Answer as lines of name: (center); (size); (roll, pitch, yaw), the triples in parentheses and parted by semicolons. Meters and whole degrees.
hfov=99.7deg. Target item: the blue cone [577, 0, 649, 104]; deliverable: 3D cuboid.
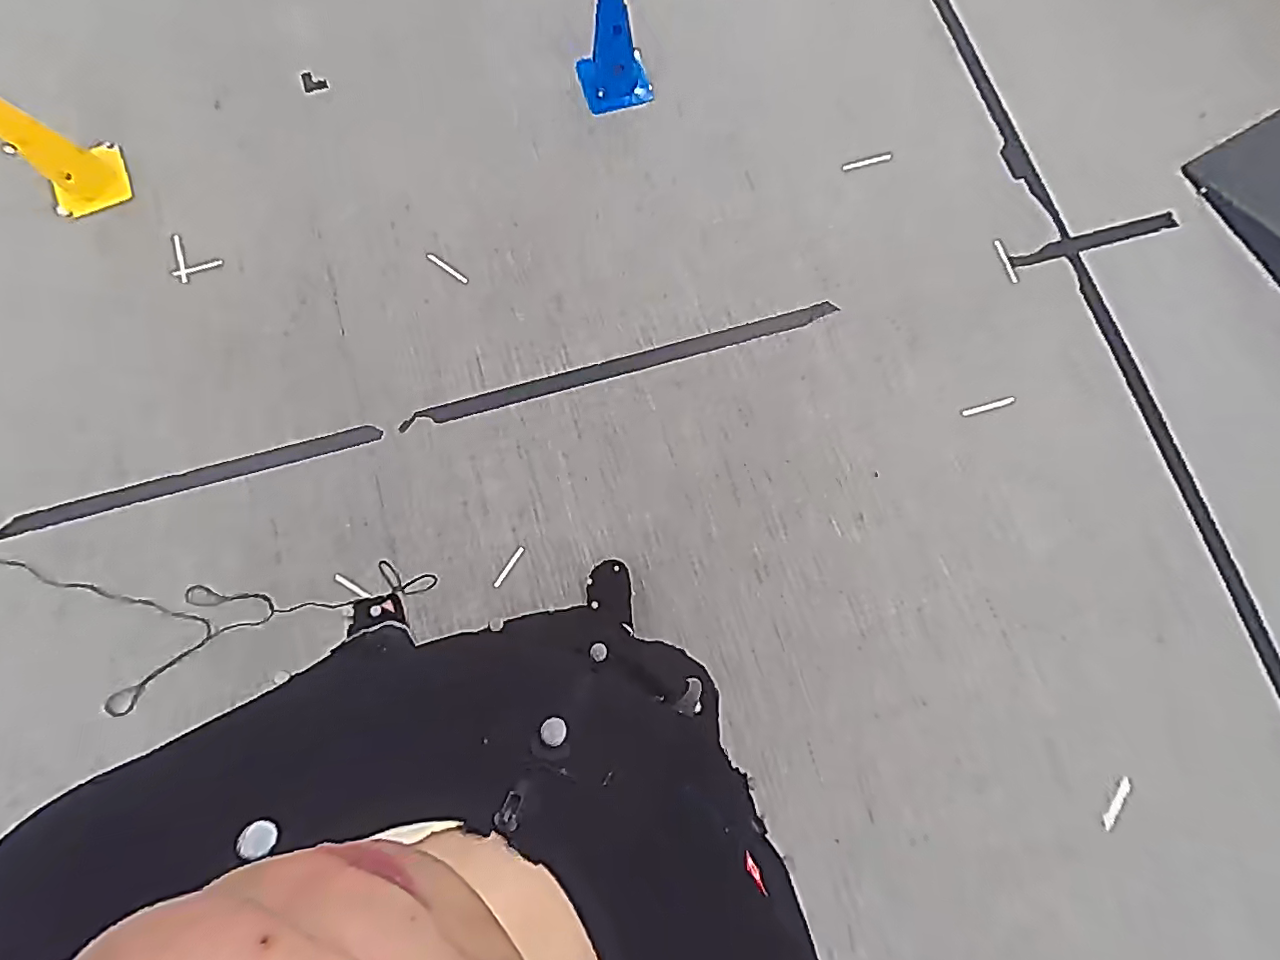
blue cone: (-0.078, -1.245, 1.455); (0.193, 0.380, 0.192); (-15, 79, -3)
